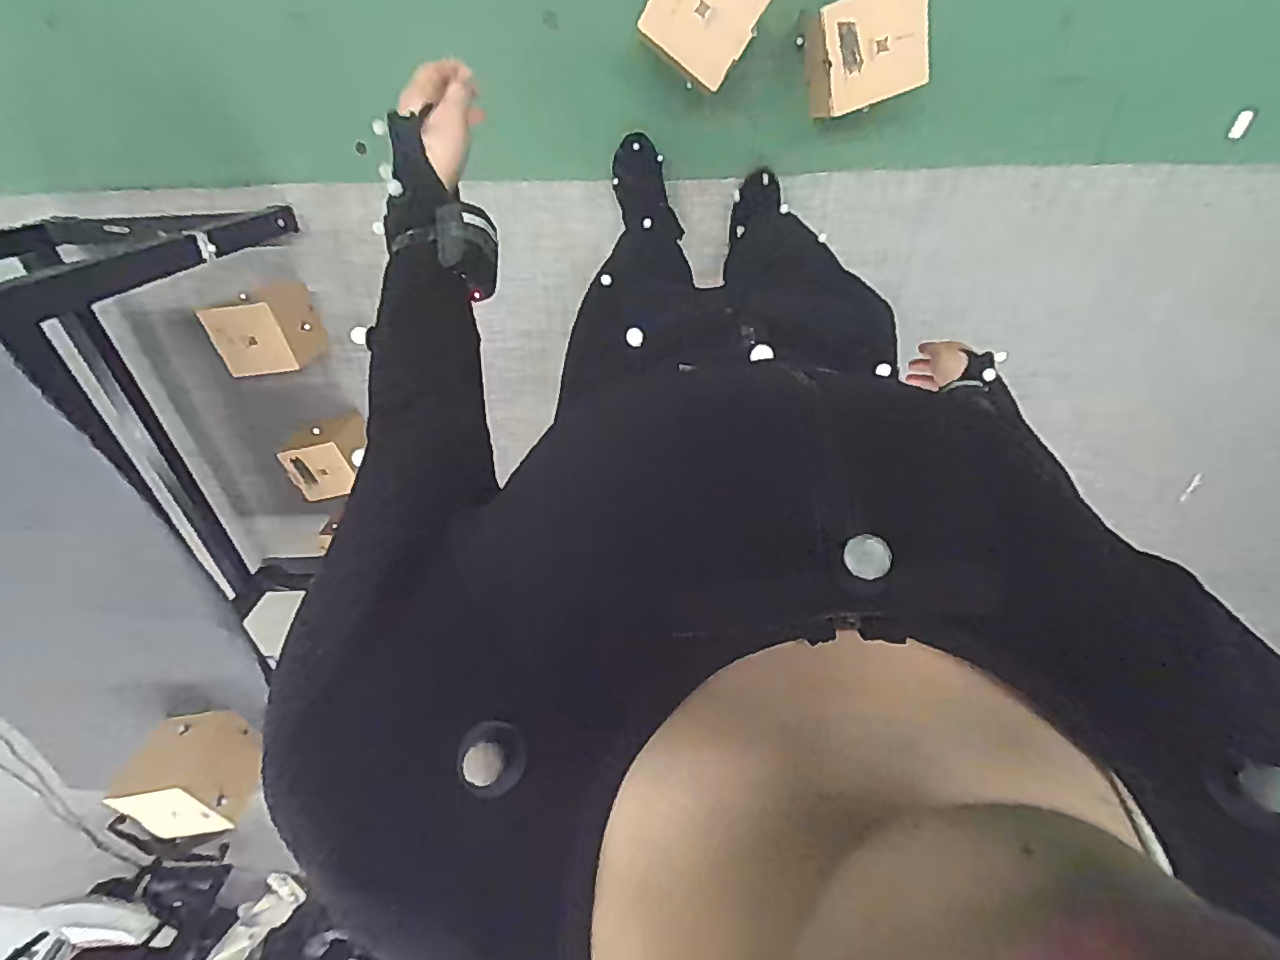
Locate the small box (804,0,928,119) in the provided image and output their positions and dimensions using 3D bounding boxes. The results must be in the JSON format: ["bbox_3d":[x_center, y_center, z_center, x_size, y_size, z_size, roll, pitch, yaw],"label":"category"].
[{"bbox_3d":[0.416,-0.798,1.015,0.179,0.176,0.168,-15,123,9],"label":"small box"}]

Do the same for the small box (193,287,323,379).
[{"bbox_3d":[-0.915,-0.364,1.322,0.179,0.176,0.168,-5,124,4],"label":"small box"}]

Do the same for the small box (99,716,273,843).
[{"bbox_3d":[-0.918,0.613,1.115,0.179,0.176,0.168,-12,124,8],"label":"small box"}]

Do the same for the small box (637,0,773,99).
[{"bbox_3d":[0.112,-0.838,0.990,0.179,0.176,0.168,29,119,-17],"label":"small box"}]
